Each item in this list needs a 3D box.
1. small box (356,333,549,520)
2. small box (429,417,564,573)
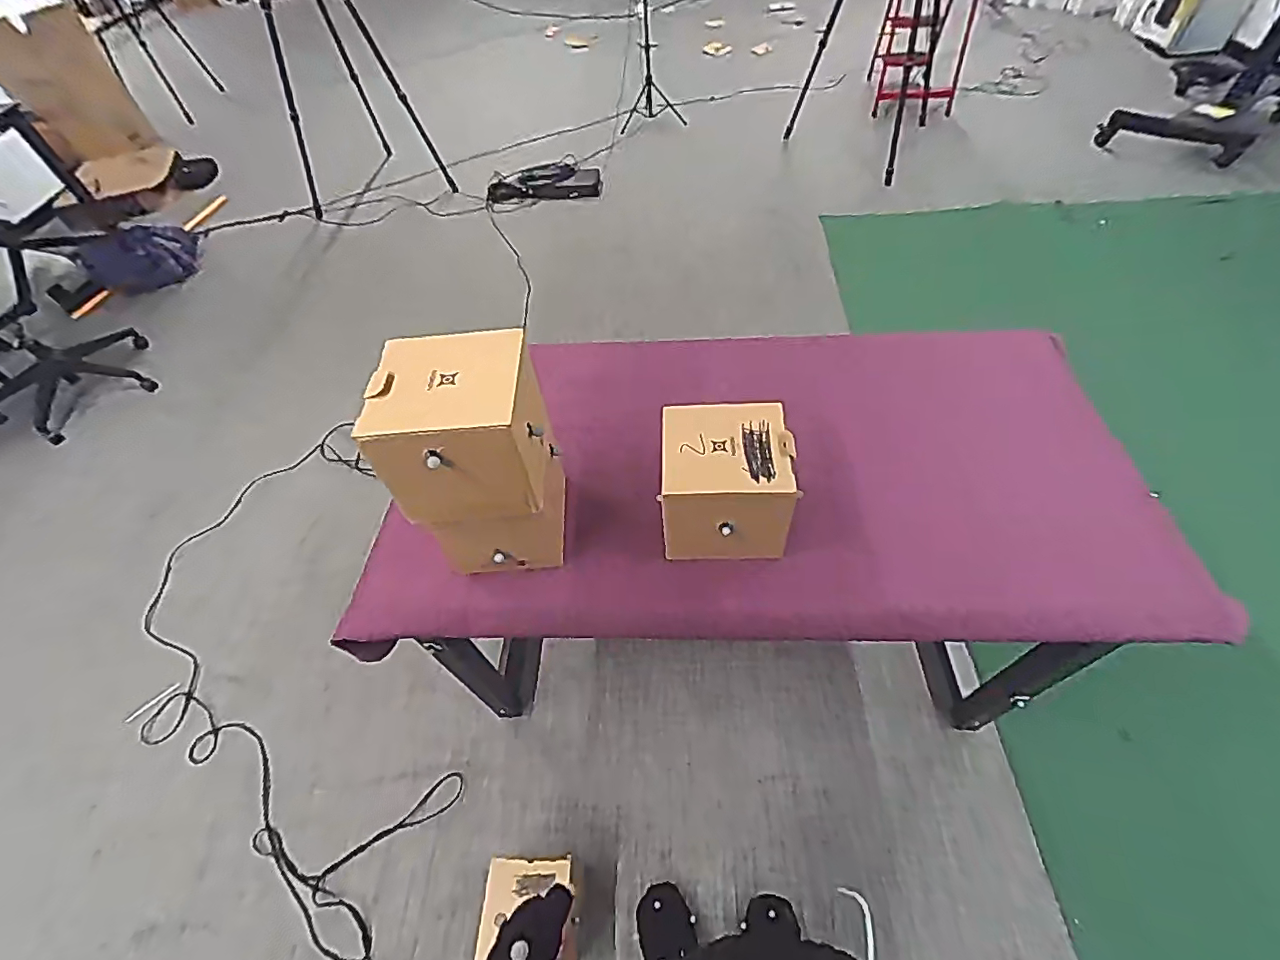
[{"bbox_3d":[-0.217,-0.063,0.686,0.179,0.176,0.168,-4,53,1],"label":"small box"},{"bbox_3d":[-0.212,0.023,0.826,0.168,0.176,0.179,-4,52,1],"label":"small box"}]
